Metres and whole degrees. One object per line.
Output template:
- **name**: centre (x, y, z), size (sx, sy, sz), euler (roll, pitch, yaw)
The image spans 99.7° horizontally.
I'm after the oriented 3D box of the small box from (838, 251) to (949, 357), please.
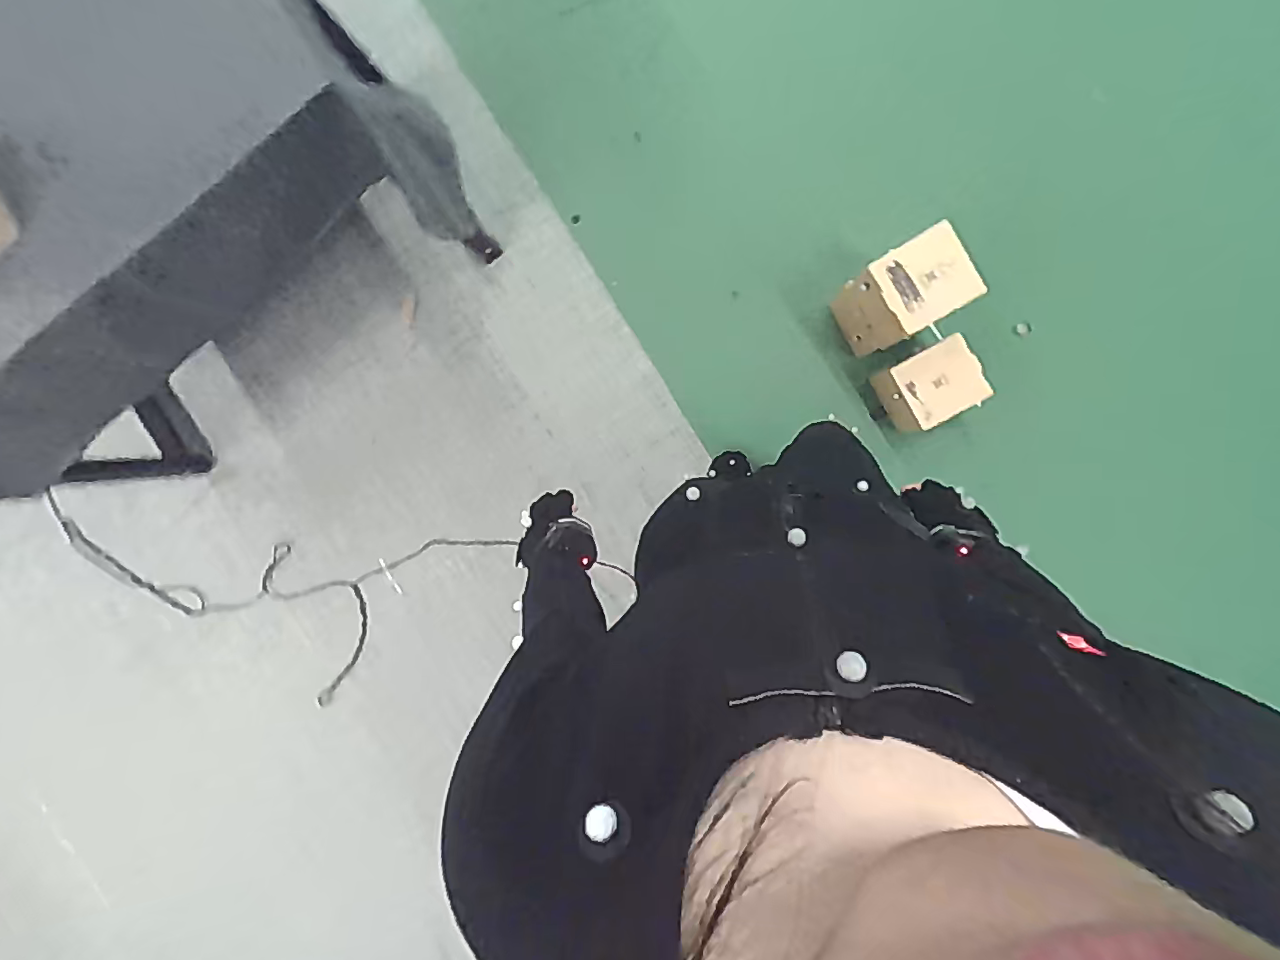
- **small box**: centre (0.605, -0.419, 1.323), size (0.179, 0.176, 0.168), euler (-27, 90, 8)
